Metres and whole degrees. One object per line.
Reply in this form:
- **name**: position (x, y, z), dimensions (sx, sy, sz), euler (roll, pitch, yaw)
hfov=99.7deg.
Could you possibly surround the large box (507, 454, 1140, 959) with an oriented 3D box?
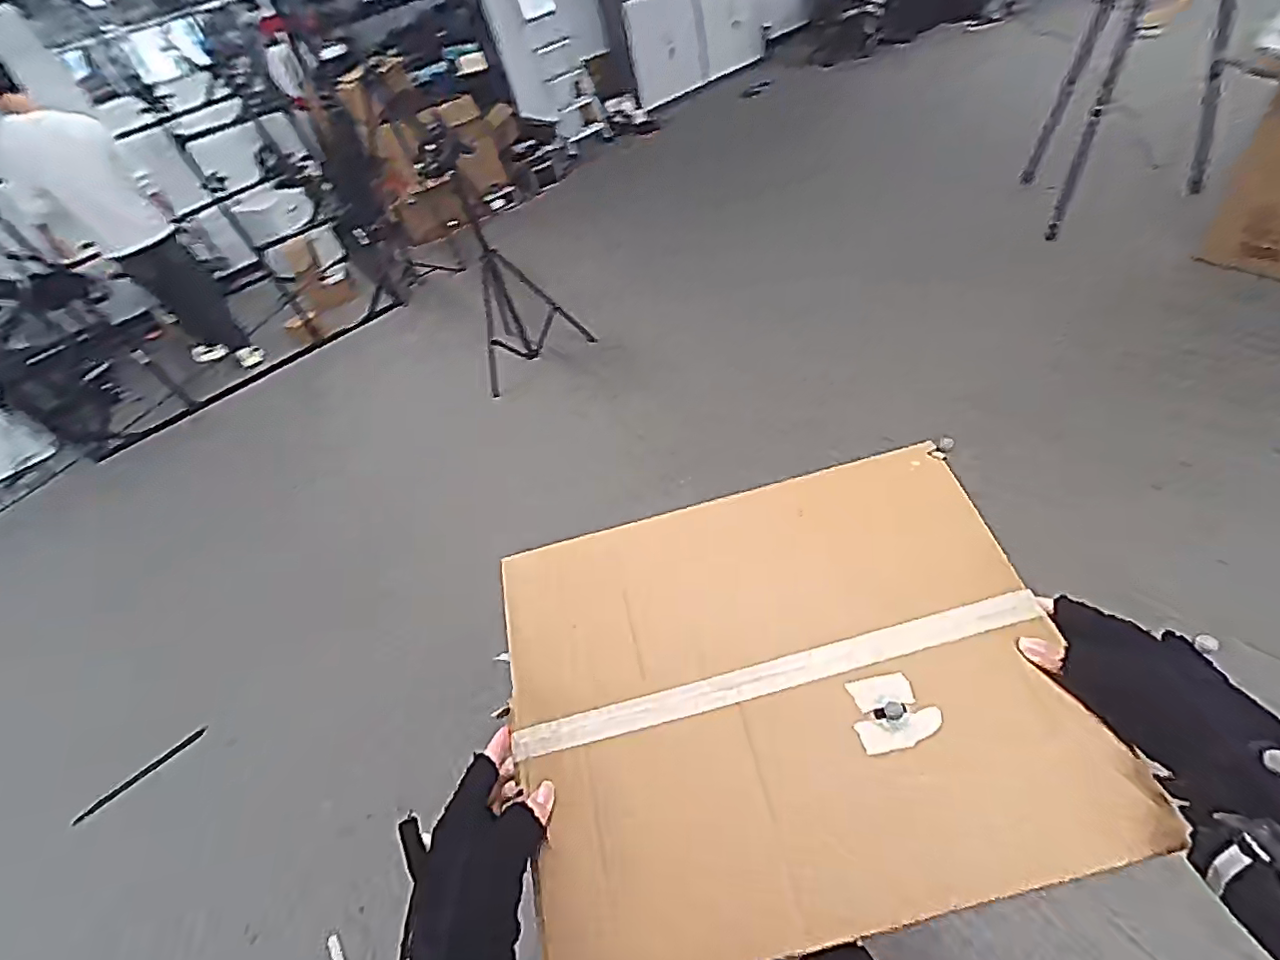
- **large box**: position (0.121, 0.231, 0.552), dimensions (0.408, 0.320, 0.320), euler (-16, 59, -1)
